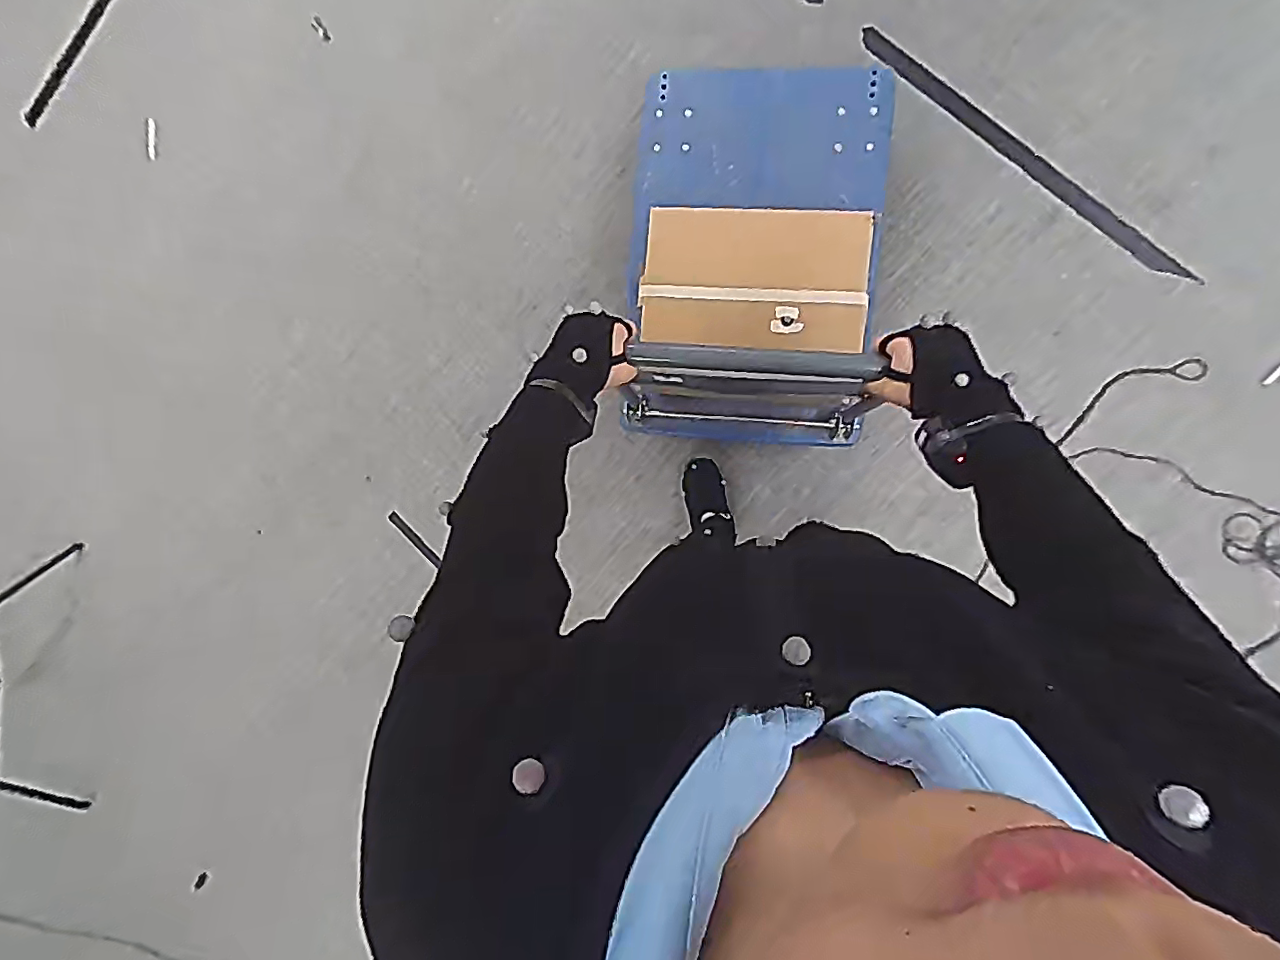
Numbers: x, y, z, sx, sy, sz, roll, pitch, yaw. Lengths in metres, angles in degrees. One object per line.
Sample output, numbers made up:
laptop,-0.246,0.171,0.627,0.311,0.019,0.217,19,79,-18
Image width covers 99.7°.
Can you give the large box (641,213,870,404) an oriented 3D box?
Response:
large box,0.223,-0.339,1.143,0.408,0.320,0.320,5,93,7
